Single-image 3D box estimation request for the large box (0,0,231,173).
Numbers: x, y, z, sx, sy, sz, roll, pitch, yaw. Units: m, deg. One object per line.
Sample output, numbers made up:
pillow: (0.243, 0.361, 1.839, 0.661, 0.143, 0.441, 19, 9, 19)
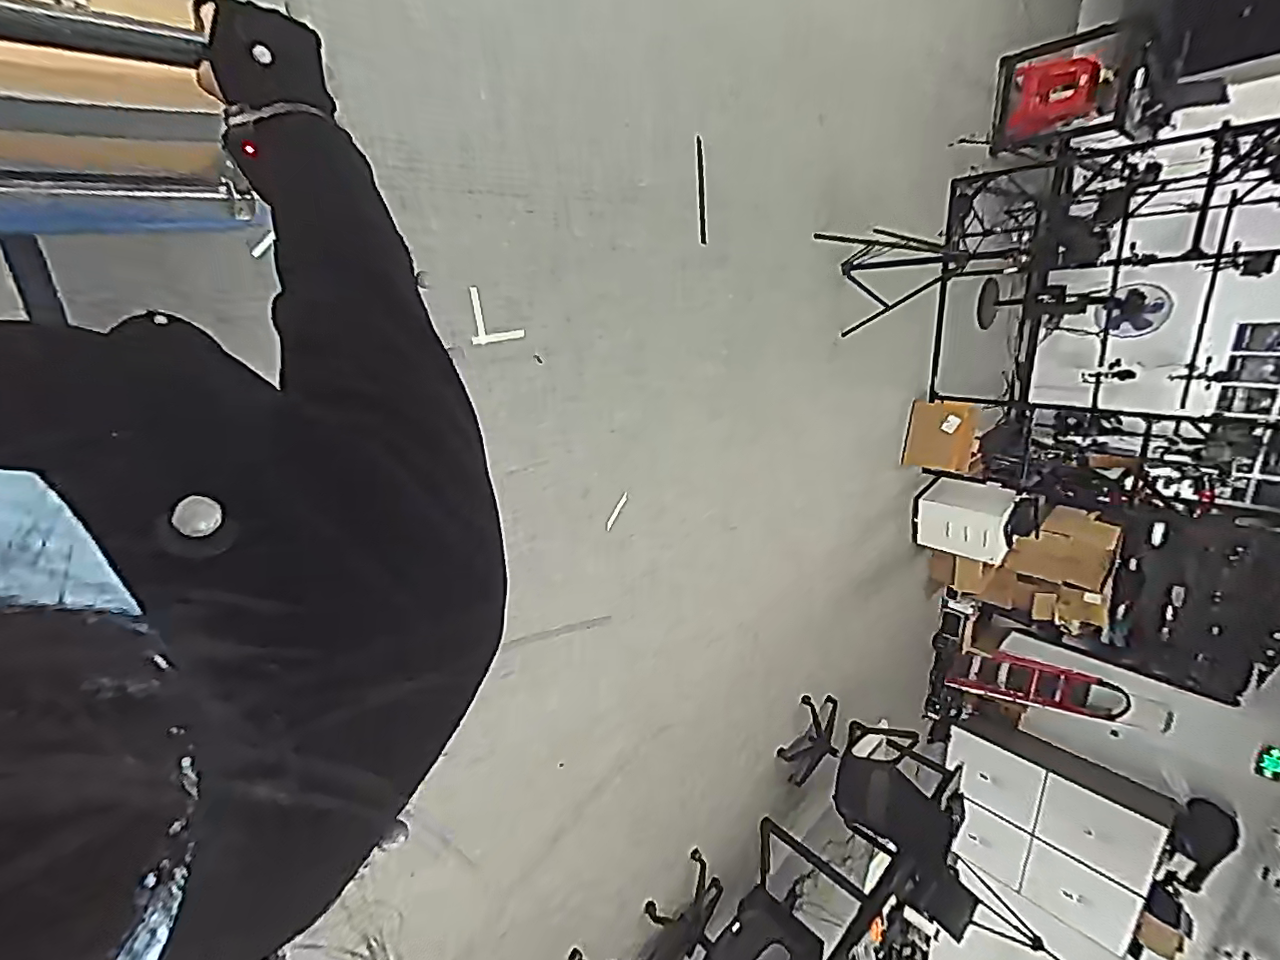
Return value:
large box: (-0.834, -0.605, 0.692, 0.408, 0.320, 0.320, -22, 116, -39)
